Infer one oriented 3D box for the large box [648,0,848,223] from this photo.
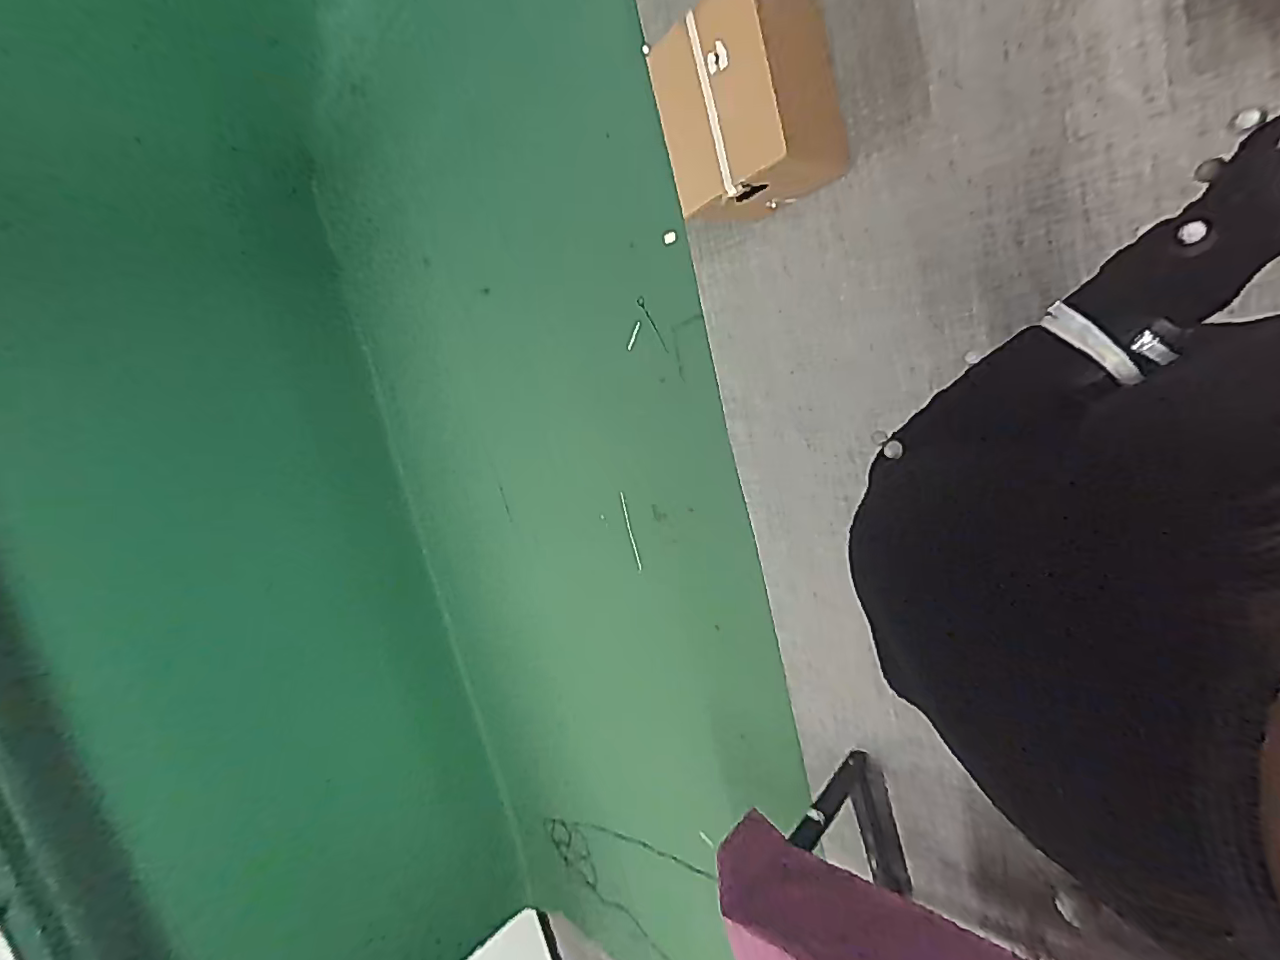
[{"bbox_3d":[0.273,-0.913,1.351,0.320,0.320,0.408,-7,100,48],"label":"large box"}]
